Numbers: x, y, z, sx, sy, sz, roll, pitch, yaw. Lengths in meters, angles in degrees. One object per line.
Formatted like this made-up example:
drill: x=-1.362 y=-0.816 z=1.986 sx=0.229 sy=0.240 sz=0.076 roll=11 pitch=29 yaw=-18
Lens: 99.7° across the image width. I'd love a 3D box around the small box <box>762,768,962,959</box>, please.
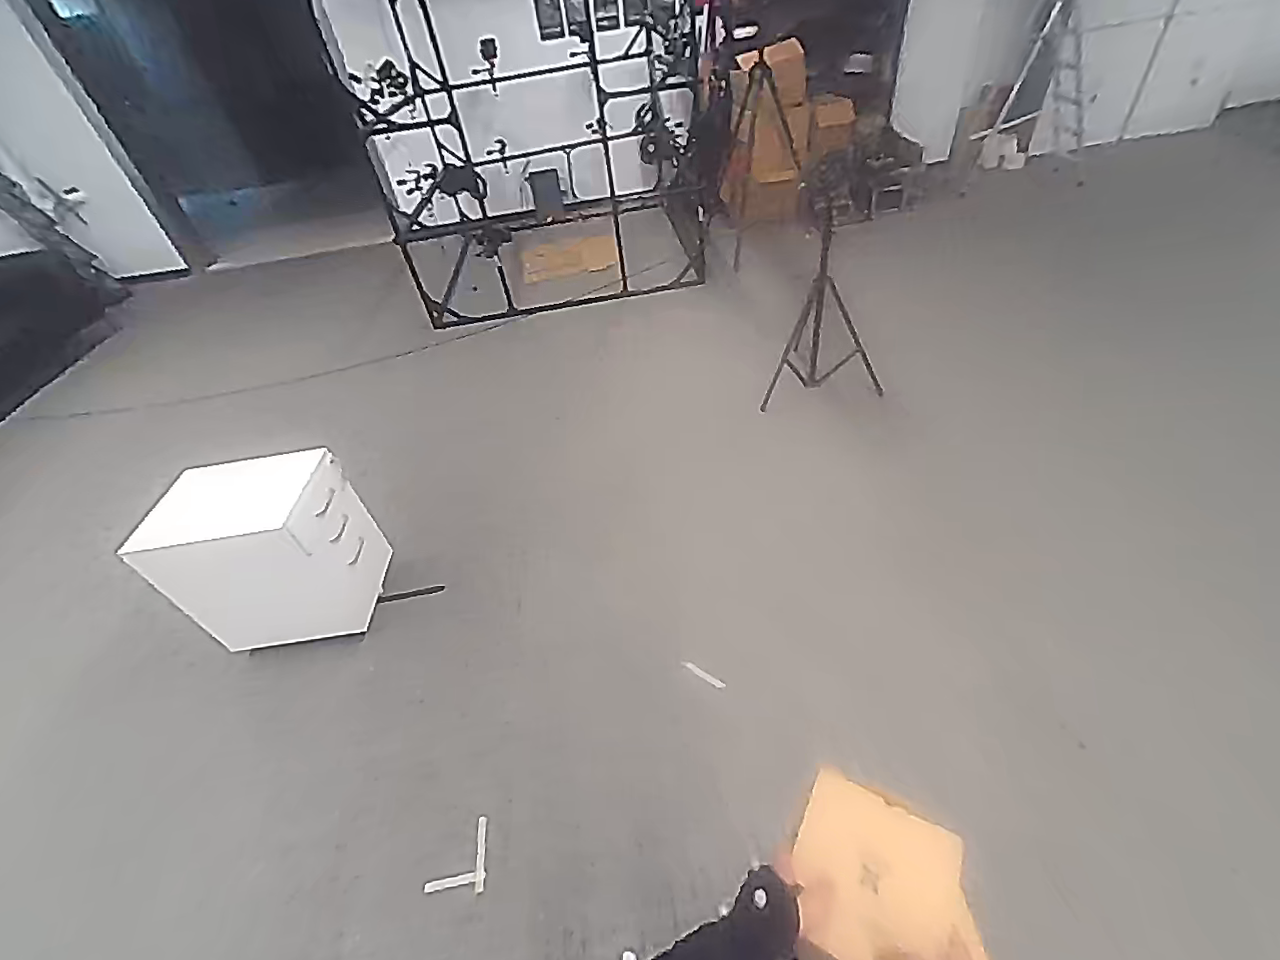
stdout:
small box: x=0.254 y=0.492 z=0.643 sx=0.168 sy=0.176 sz=0.179 roll=20 pitch=49 yaw=24
